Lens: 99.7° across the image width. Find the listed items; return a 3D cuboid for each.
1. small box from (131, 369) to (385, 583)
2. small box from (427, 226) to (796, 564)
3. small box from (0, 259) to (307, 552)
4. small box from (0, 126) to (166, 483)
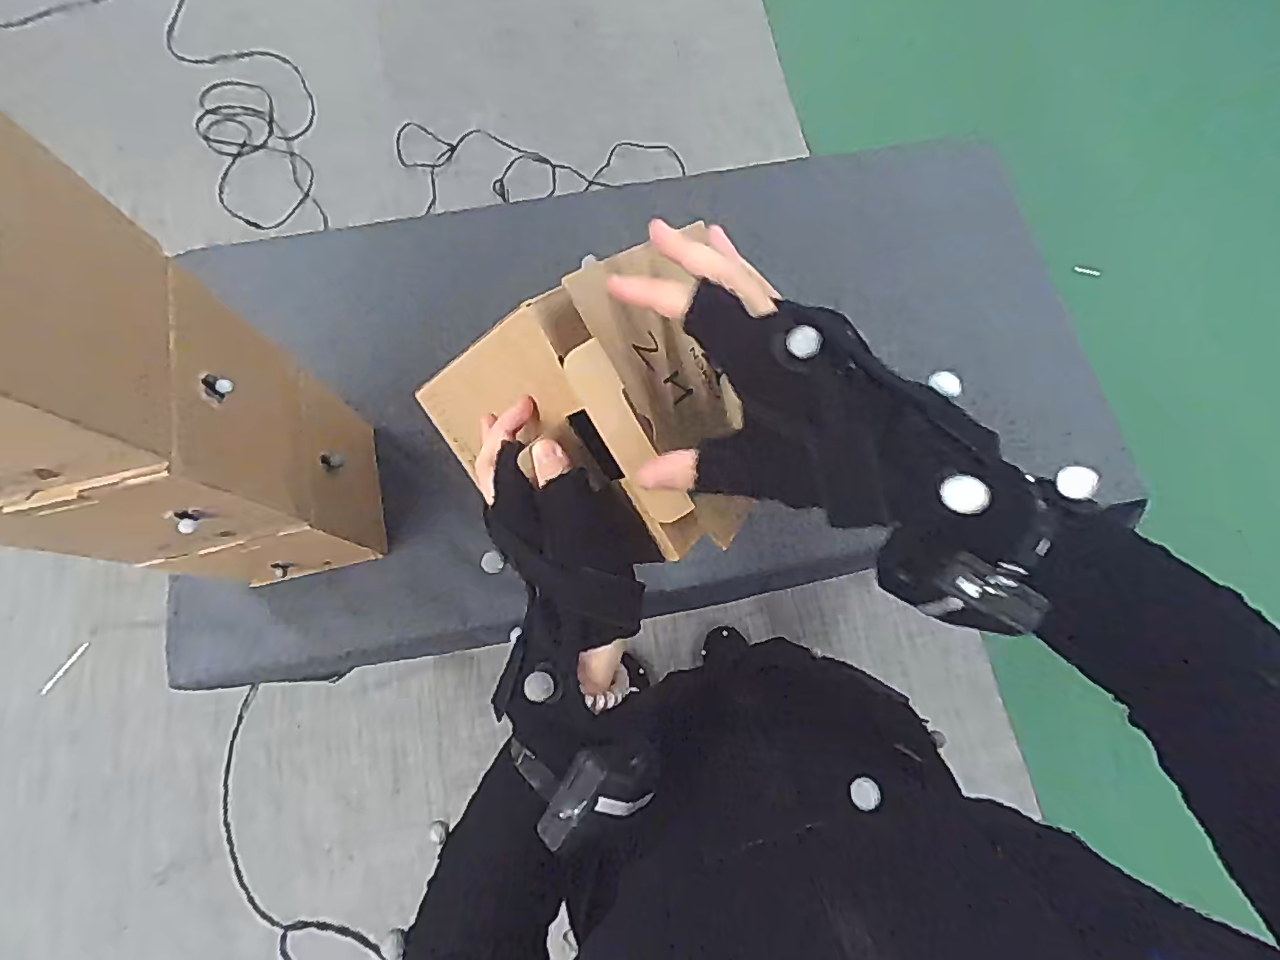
[{"bbox_3d":[-0.406,0.005,0.602,0.168,0.176,0.179,-13,74,-4],"label":"small box"},{"bbox_3d":[-0.019,-0.054,0.401,0.179,0.176,0.168,-42,109,-39],"label":"small box"},{"bbox_3d":[-0.404,-0.044,0.447,0.168,0.176,0.179,-12,74,-5],"label":"small box"},{"bbox_3d":[-0.404,-0.098,0.292,0.168,0.176,0.179,-14,74,-6],"label":"small box"}]
